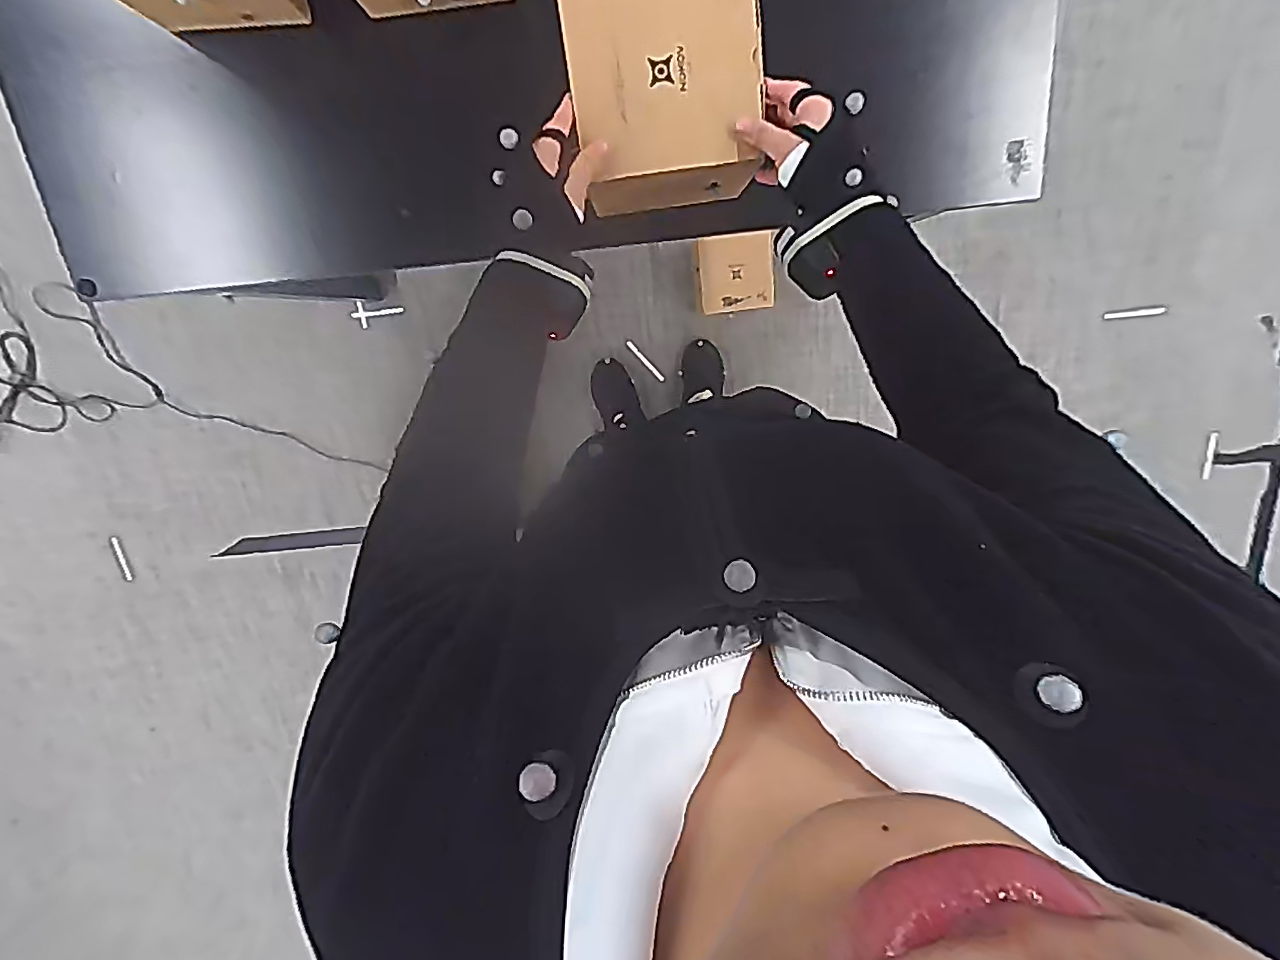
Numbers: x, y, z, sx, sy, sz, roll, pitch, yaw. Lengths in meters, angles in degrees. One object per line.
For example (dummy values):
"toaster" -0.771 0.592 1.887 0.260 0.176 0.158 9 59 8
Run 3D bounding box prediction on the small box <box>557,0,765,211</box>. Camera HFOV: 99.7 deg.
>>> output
"small box" 0.021 -0.393 0.561 0.179 0.176 0.168 -7 105 3

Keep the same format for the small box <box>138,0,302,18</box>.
"small box" -0.454 -0.571 0.504 0.168 0.176 0.179 -3 106 0

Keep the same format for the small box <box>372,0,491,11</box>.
"small box" -0.230 -0.589 0.500 0.168 0.176 0.179 -6 107 2

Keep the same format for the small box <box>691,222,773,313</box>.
"small box" 0.215 -0.498 1.288 0.168 0.176 0.179 -6 106 3
